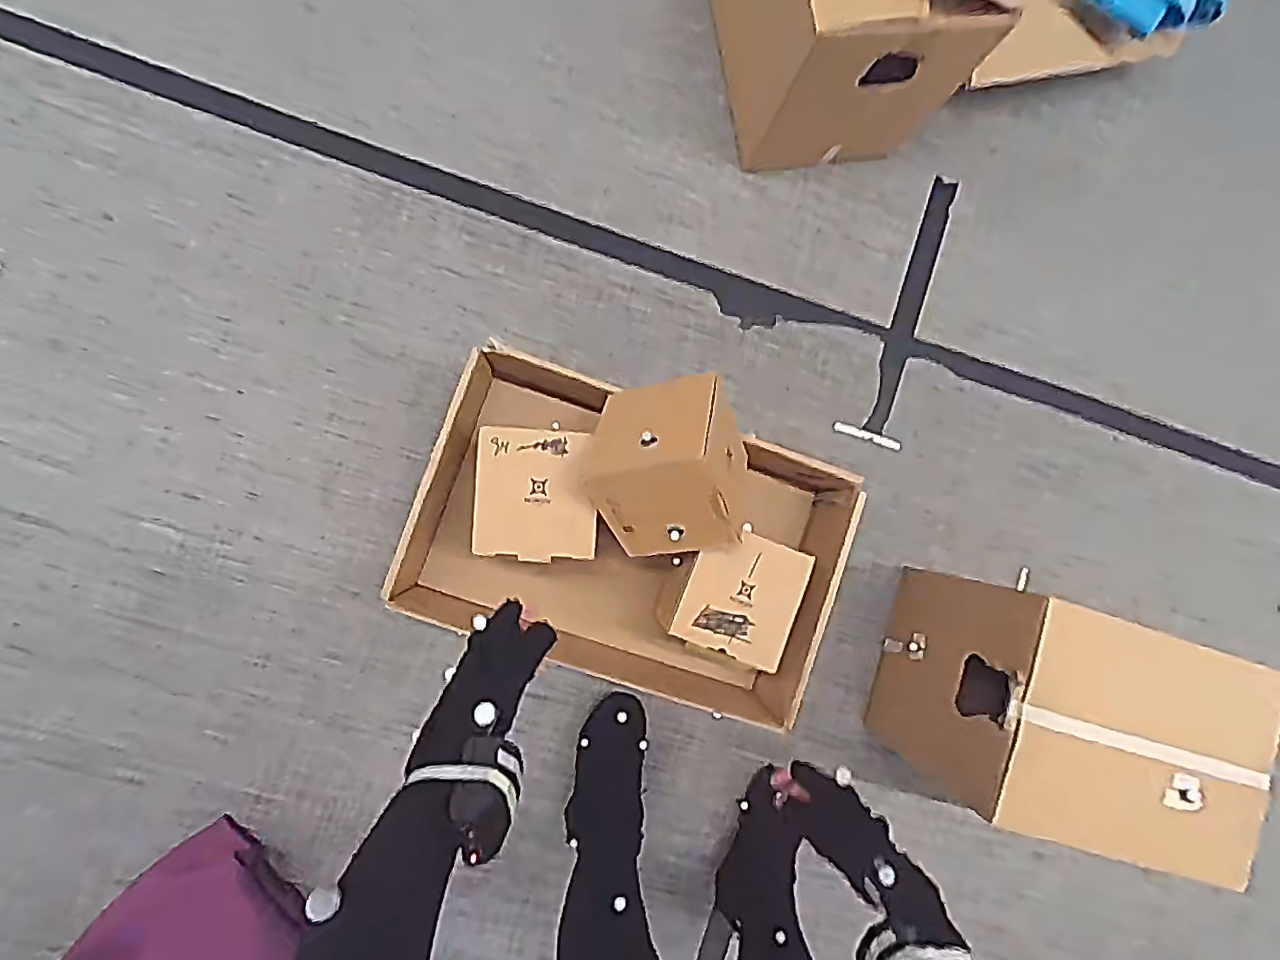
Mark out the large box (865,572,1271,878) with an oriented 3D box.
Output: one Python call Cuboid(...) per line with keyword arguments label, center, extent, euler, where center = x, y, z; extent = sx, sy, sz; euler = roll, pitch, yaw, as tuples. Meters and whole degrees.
Cuboid(label="large box", center=(0.656, 0.362, 0.887), extent=(0.408, 0.320, 0.320), euler=(18, 86, -7))
